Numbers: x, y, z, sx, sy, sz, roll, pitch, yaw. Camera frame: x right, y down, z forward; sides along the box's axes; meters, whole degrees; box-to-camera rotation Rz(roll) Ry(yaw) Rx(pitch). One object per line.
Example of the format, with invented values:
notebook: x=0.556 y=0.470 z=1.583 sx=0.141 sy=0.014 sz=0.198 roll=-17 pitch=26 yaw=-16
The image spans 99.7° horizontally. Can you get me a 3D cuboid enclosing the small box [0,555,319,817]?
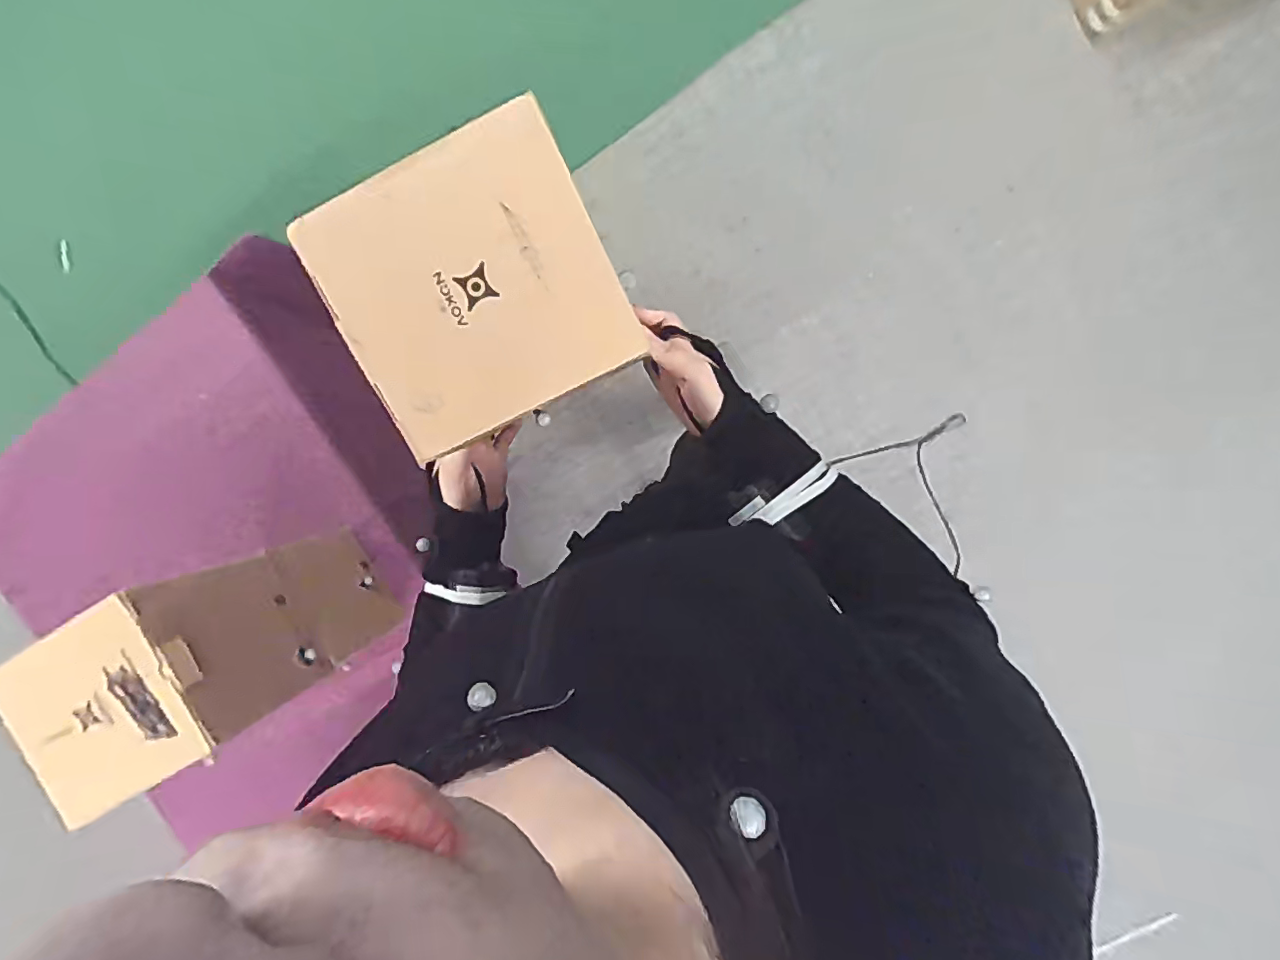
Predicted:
small box: x=-0.483 y=0.199 z=0.573 sx=0.179 sy=0.176 sz=0.168 roll=-30 pitch=90 yaw=9

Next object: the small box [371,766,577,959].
small box: x=-0.210 y=0.526 z=0.732 sx=0.168 sy=0.176 sz=0.179 roll=-33 pitch=90 yaw=8

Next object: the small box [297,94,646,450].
small box: x=-0.102 y=-0.139 z=0.419 sx=0.179 sy=0.176 sz=0.168 roll=-23 pitch=101 yaw=5
